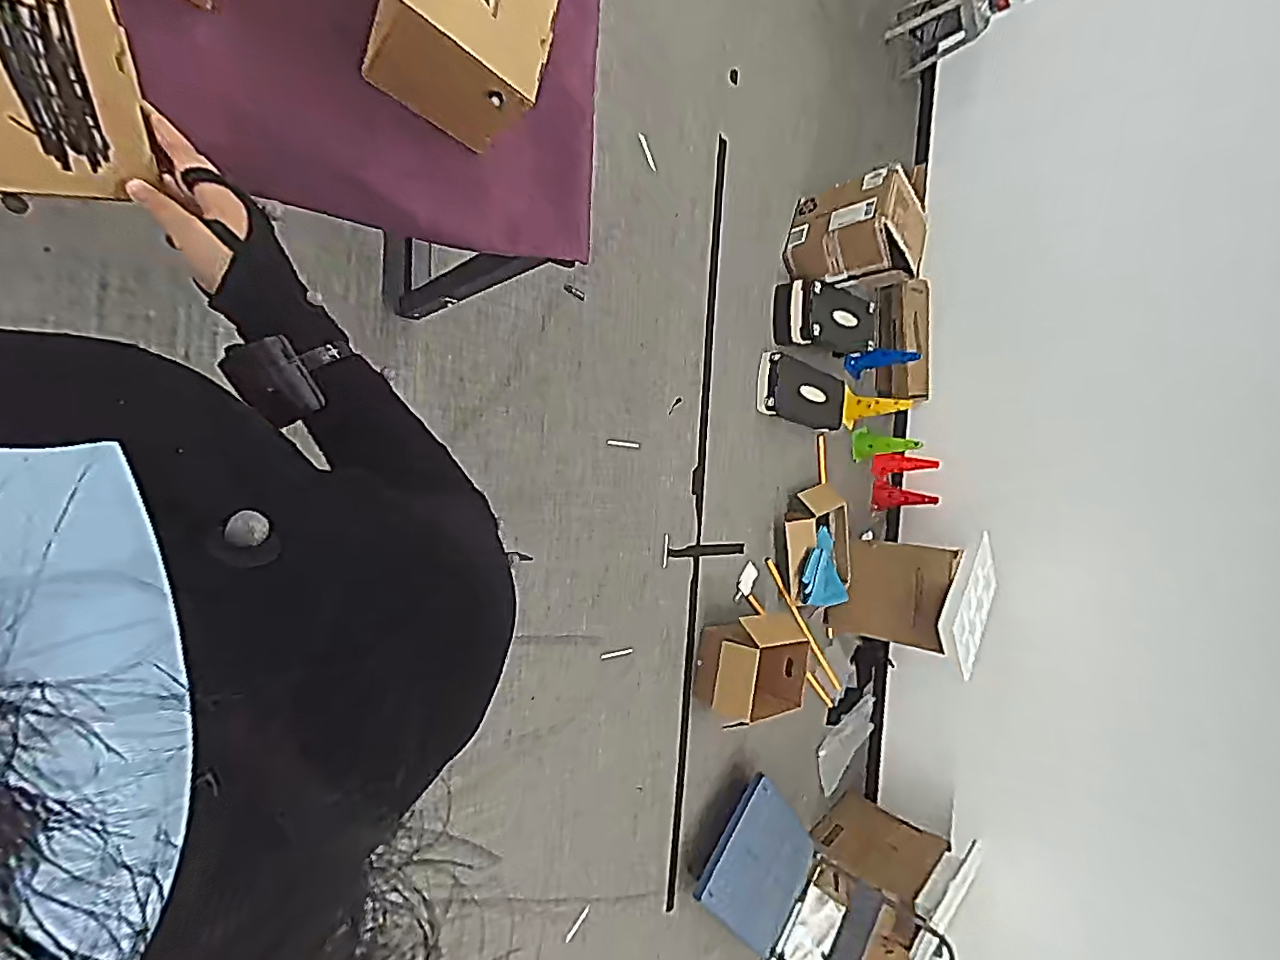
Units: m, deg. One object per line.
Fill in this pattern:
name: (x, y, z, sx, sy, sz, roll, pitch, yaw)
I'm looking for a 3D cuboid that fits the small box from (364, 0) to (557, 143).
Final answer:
small box: (-0.238, -0.589, 0.710, 0.179, 0.176, 0.168, 15, 83, -42)
